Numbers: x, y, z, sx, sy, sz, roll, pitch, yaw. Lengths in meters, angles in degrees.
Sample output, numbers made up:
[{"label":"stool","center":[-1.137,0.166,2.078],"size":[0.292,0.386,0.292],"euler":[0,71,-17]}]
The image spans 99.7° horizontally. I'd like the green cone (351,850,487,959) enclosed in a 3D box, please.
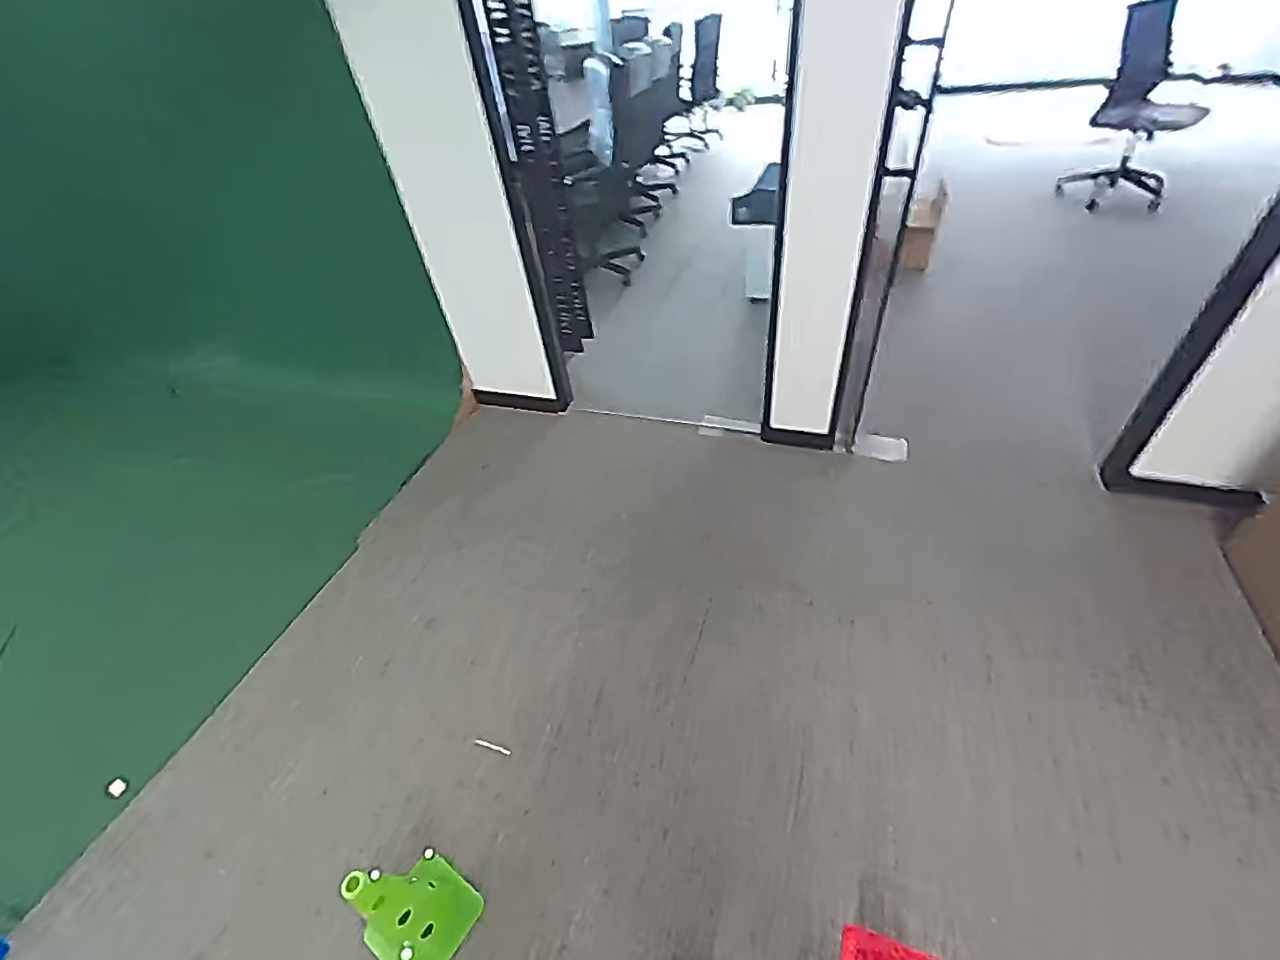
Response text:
[{"label":"green cone","center":[-0.488,0.849,1.088],"size":[0.202,0.368,0.200],"euler":[20,49,27]}]
